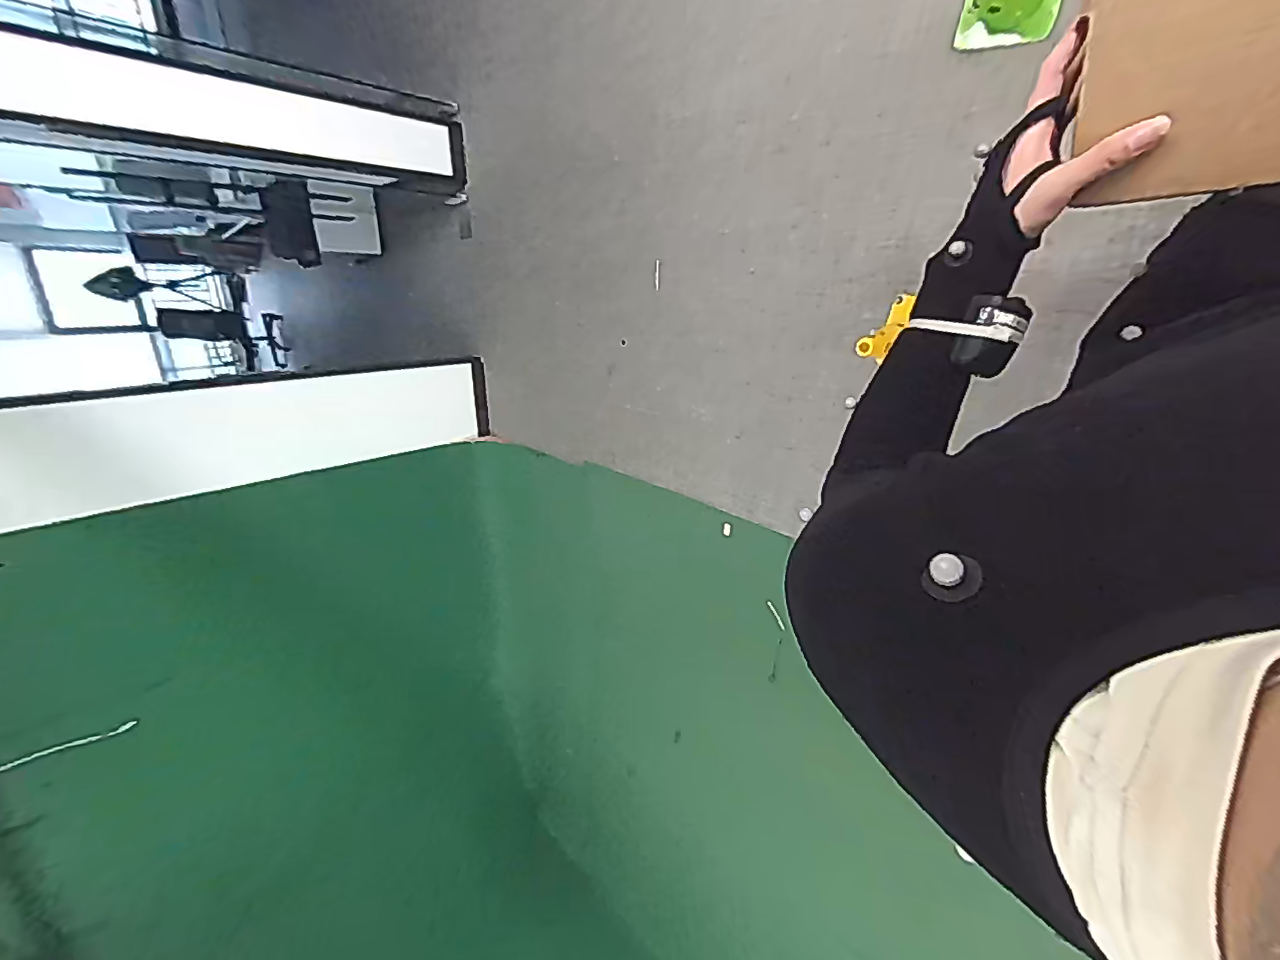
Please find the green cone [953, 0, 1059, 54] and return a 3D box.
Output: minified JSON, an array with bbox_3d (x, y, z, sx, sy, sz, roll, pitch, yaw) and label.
[{"bbox_3d":[0.702,-1.037,1.088,0.200,0.368,0.202,27,123,39],"label":"green cone"}]
